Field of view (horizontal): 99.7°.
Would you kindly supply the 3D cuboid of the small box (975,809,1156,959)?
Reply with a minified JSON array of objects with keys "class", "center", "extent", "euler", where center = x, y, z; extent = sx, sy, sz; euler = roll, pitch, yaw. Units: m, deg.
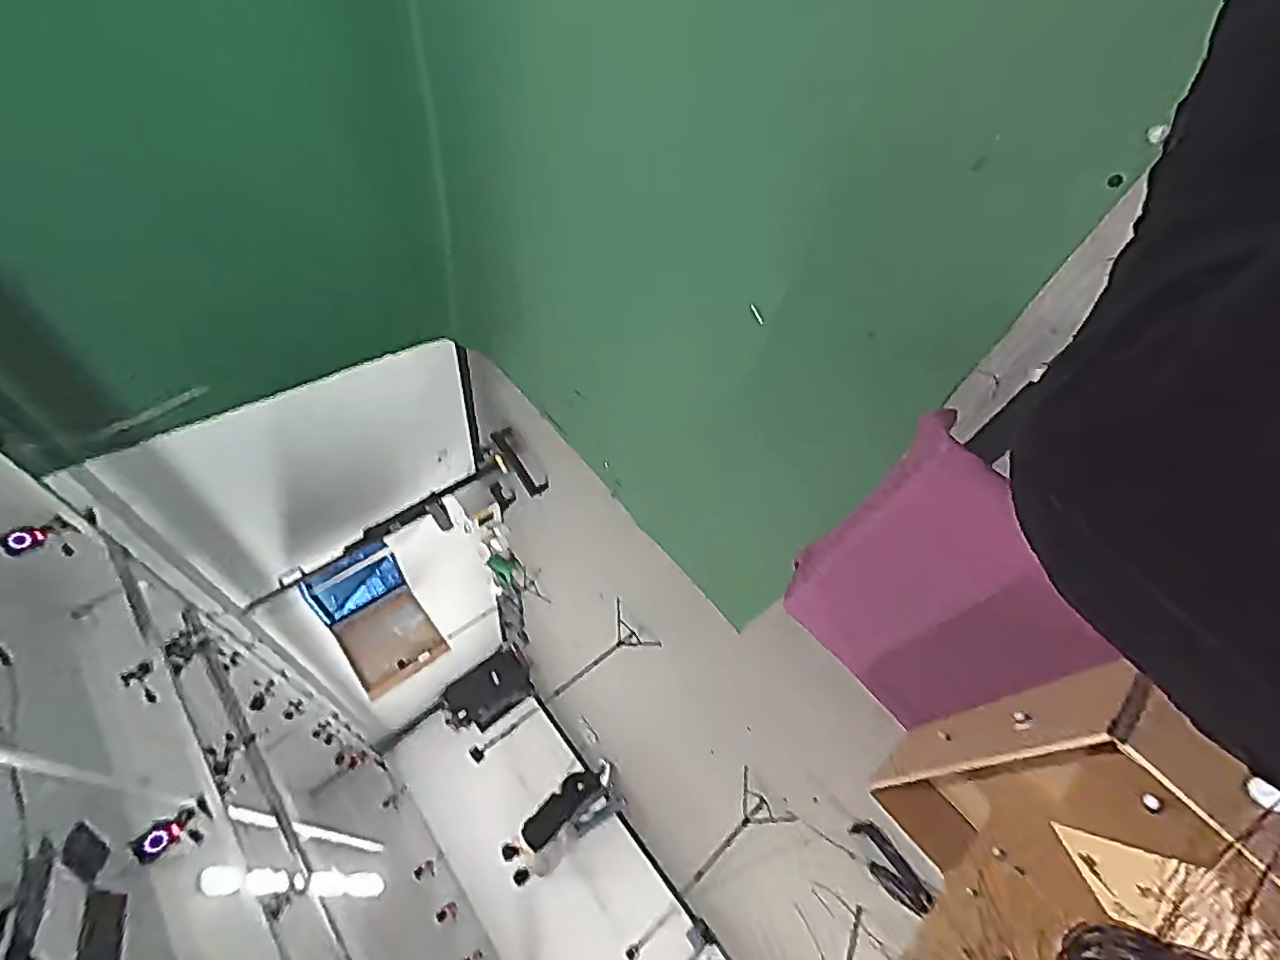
[{"class":"small box","center":[0.719,0.695,0.921],"extent":[0.168,0.176,0.179],"euler":[48,148,21]}]

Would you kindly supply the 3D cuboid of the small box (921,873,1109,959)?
[{"class":"small box","center":[0.594,0.760,0.842],"extent":[0.179,0.176,0.168],"euler":[46,147,23]}]
